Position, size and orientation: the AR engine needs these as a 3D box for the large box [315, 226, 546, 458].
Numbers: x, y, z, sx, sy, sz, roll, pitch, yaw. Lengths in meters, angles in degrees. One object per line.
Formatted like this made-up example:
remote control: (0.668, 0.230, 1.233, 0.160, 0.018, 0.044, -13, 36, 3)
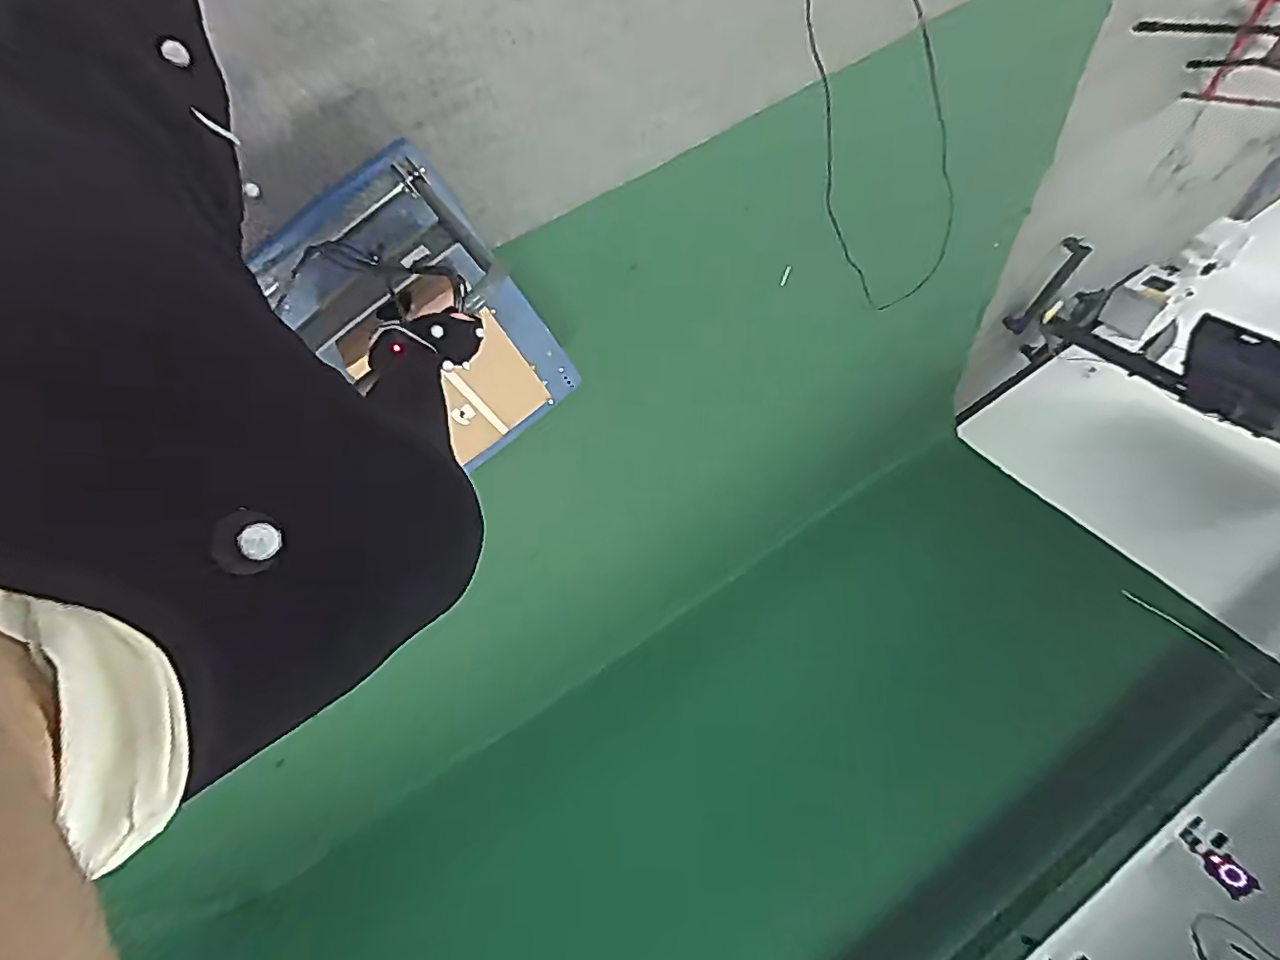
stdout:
large box: (-0.511, -0.334, 1.356, 0.320, 0.320, 0.408, -37, 146, -3)
